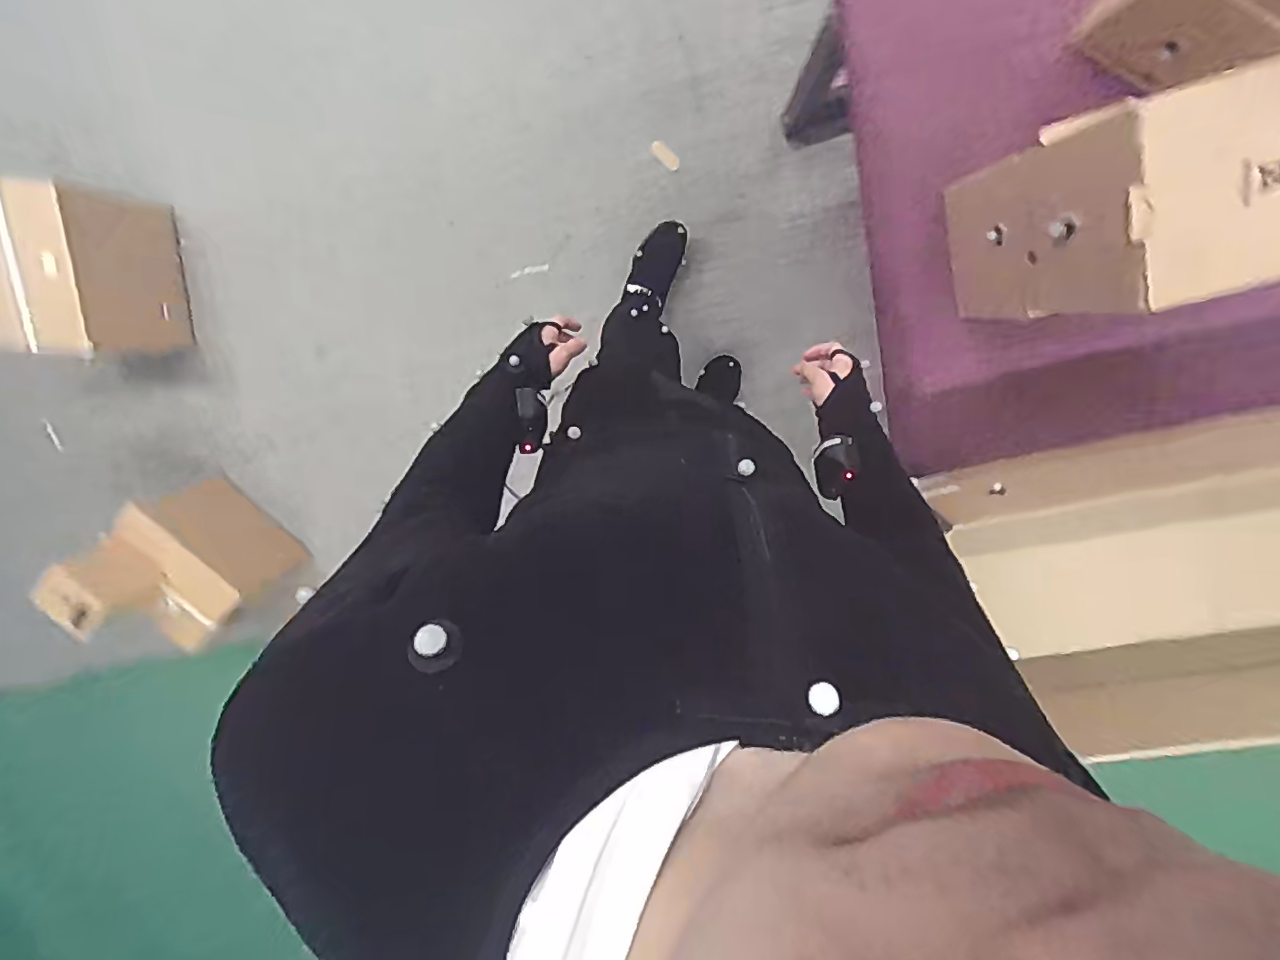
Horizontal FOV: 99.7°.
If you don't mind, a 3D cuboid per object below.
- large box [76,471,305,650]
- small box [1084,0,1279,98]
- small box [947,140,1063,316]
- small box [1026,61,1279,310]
[{"bbox_3d":[-1.397,0.241,1.715,0.320,0.320,0.408,-42,100,16],"label":"large box"},{"bbox_3d":[0.638,-0.552,0.581,0.168,0.176,0.179,28,108,-4],"label":"small box"},{"bbox_3d":[0.506,-0.309,0.668,0.168,0.176,0.179,-14,105,9],"label":"small box"},{"bbox_3d":[0.499,-0.263,0.512,0.179,0.176,0.168,-13,106,9],"label":"small box"}]
